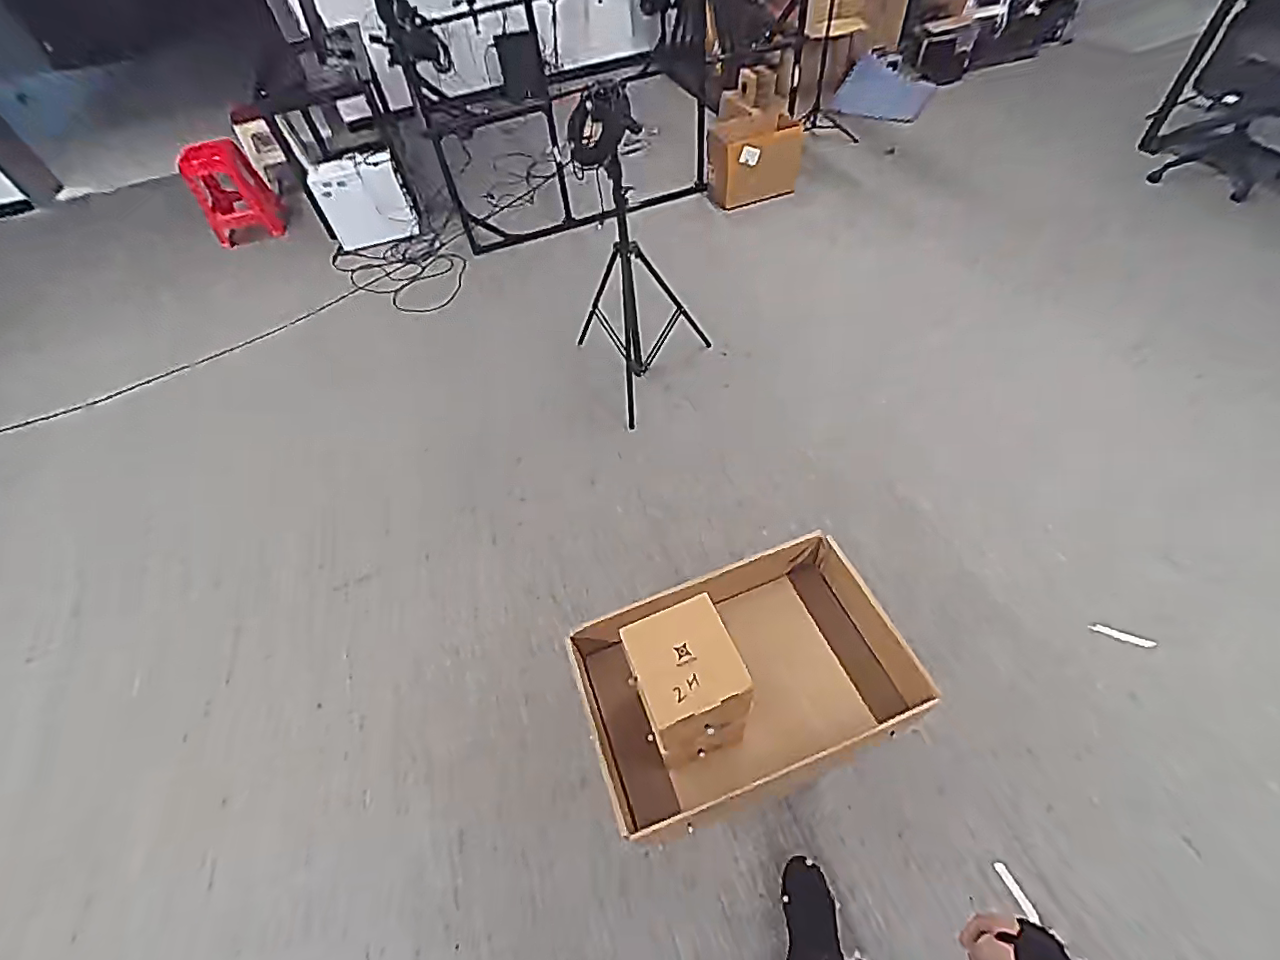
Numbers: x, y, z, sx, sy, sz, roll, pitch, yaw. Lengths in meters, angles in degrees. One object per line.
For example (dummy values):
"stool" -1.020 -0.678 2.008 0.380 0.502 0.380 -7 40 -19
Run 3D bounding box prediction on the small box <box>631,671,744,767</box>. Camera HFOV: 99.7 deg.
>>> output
"small box" 0.089 0.436 1.069 0.168 0.176 0.179 -21 54 -8

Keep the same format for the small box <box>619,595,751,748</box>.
"small box" 0.075 0.335 0.940 0.168 0.176 0.179 -21 54 -8
